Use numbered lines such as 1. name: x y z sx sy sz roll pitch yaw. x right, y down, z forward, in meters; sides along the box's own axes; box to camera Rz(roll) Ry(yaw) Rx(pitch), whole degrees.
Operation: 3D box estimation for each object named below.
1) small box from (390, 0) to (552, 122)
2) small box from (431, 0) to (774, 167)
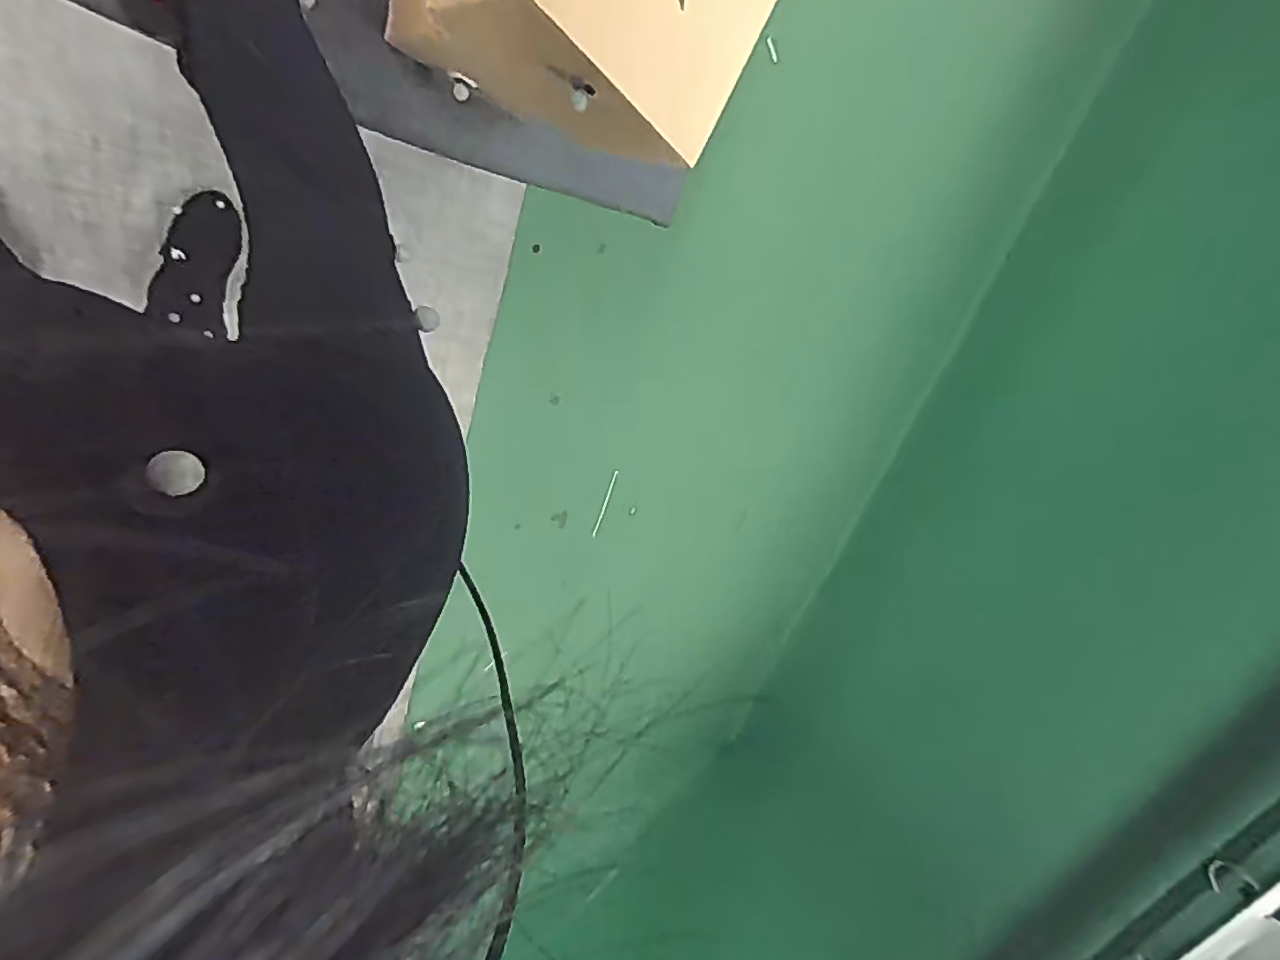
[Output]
1. small box: -0.119 -0.469 0.511 0.168 0.176 0.179 1 119 -43
2. small box: -0.026 -0.378 0.413 0.179 0.176 0.168 16 107 -47
